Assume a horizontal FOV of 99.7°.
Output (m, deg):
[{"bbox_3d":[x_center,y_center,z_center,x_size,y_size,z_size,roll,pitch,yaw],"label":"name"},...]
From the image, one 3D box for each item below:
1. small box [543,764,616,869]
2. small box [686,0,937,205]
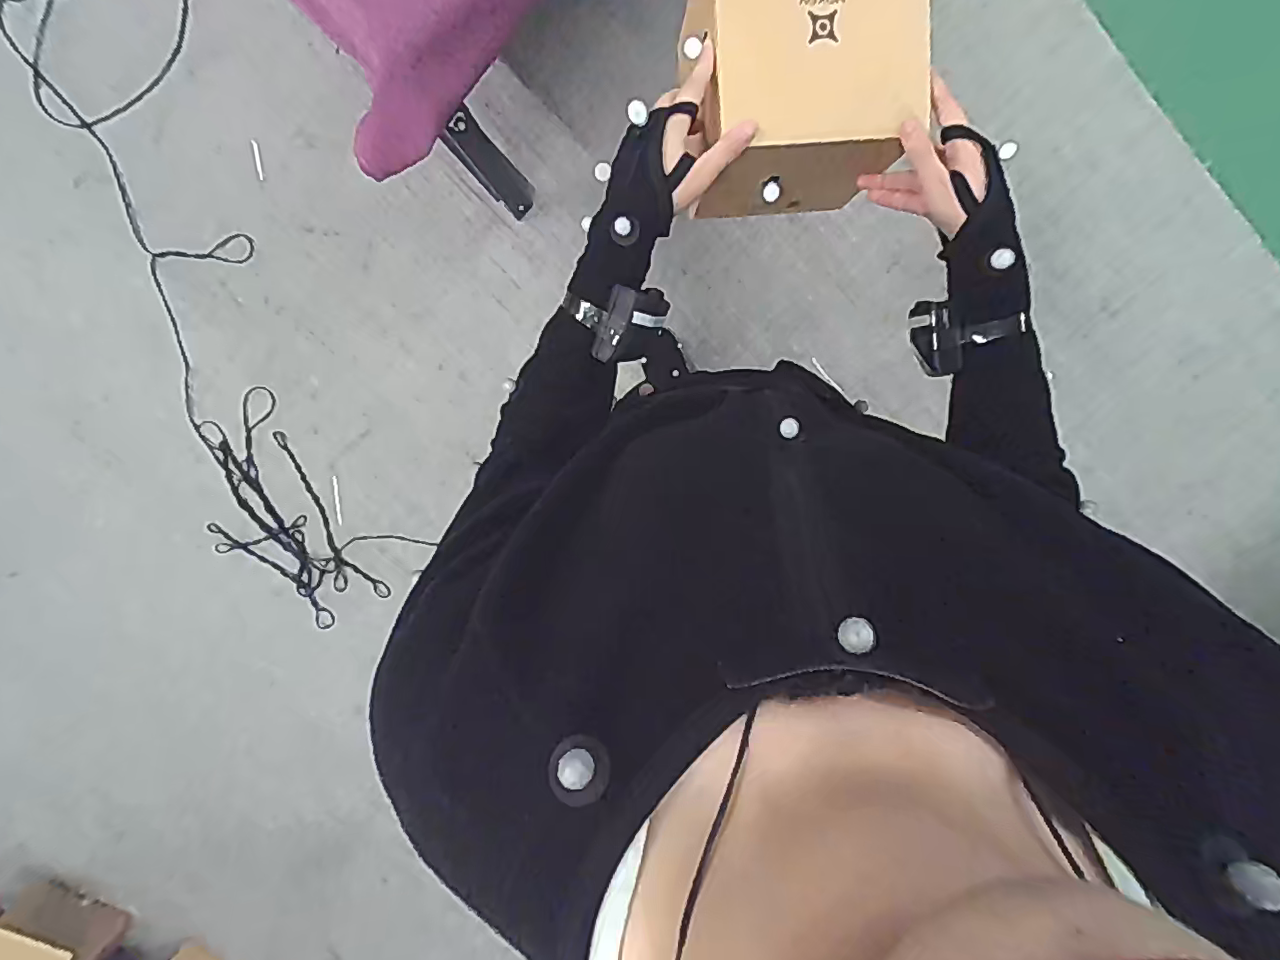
[{"bbox_3d":[-0.187,0.981,1.597,0.168,0.176,0.179,-44,98,9],"label":"small box"},{"bbox_3d":[0.134,-0.360,0.477,0.168,0.176,0.179,-5,97,-1],"label":"small box"}]
